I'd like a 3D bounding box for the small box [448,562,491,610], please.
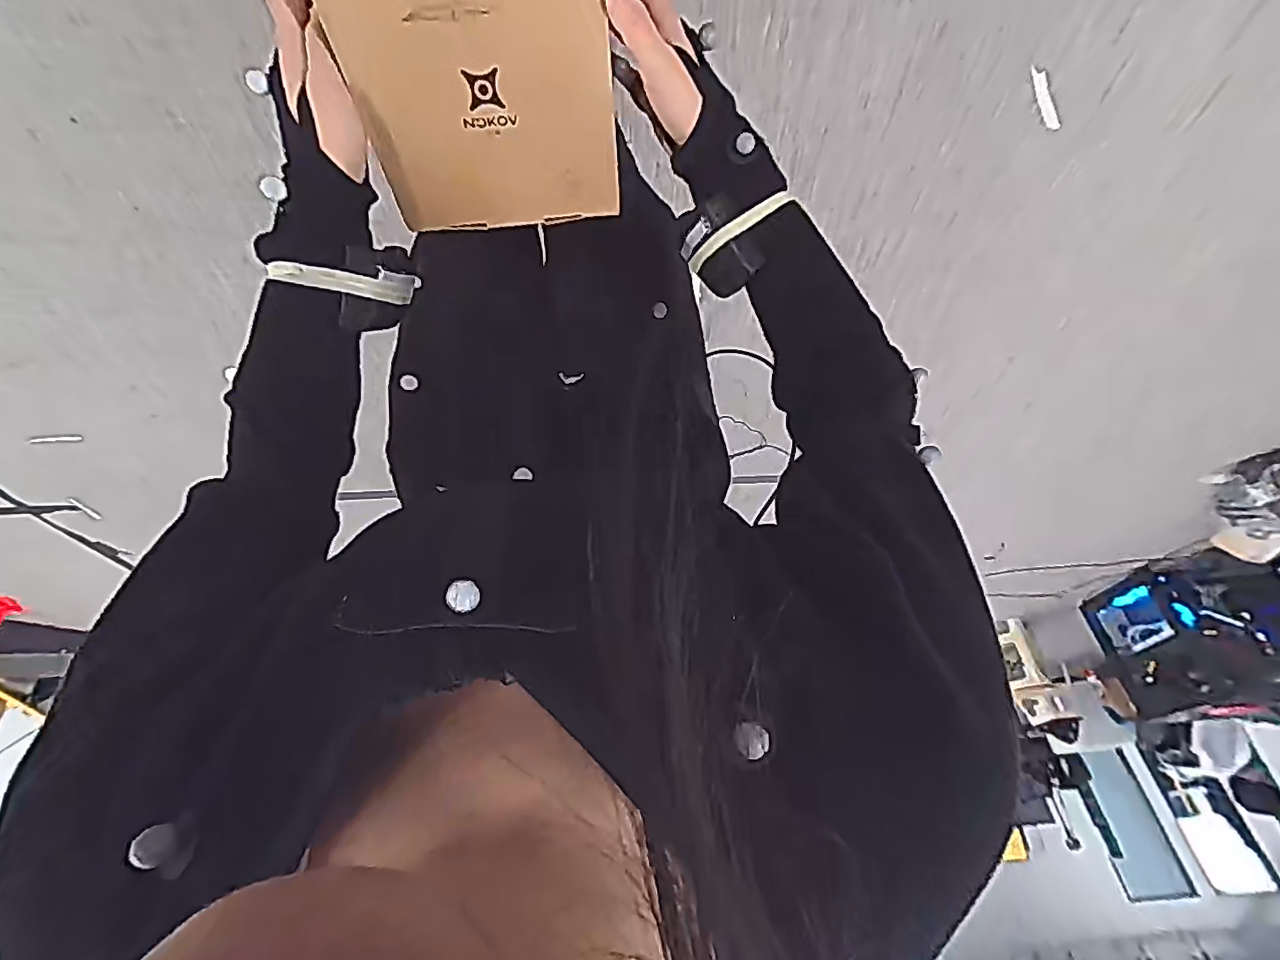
[{"bbox_3d":[-0.805,0.501,2.551,0.179,0.176,0.168,6,142,-17],"label":"small box"}]
